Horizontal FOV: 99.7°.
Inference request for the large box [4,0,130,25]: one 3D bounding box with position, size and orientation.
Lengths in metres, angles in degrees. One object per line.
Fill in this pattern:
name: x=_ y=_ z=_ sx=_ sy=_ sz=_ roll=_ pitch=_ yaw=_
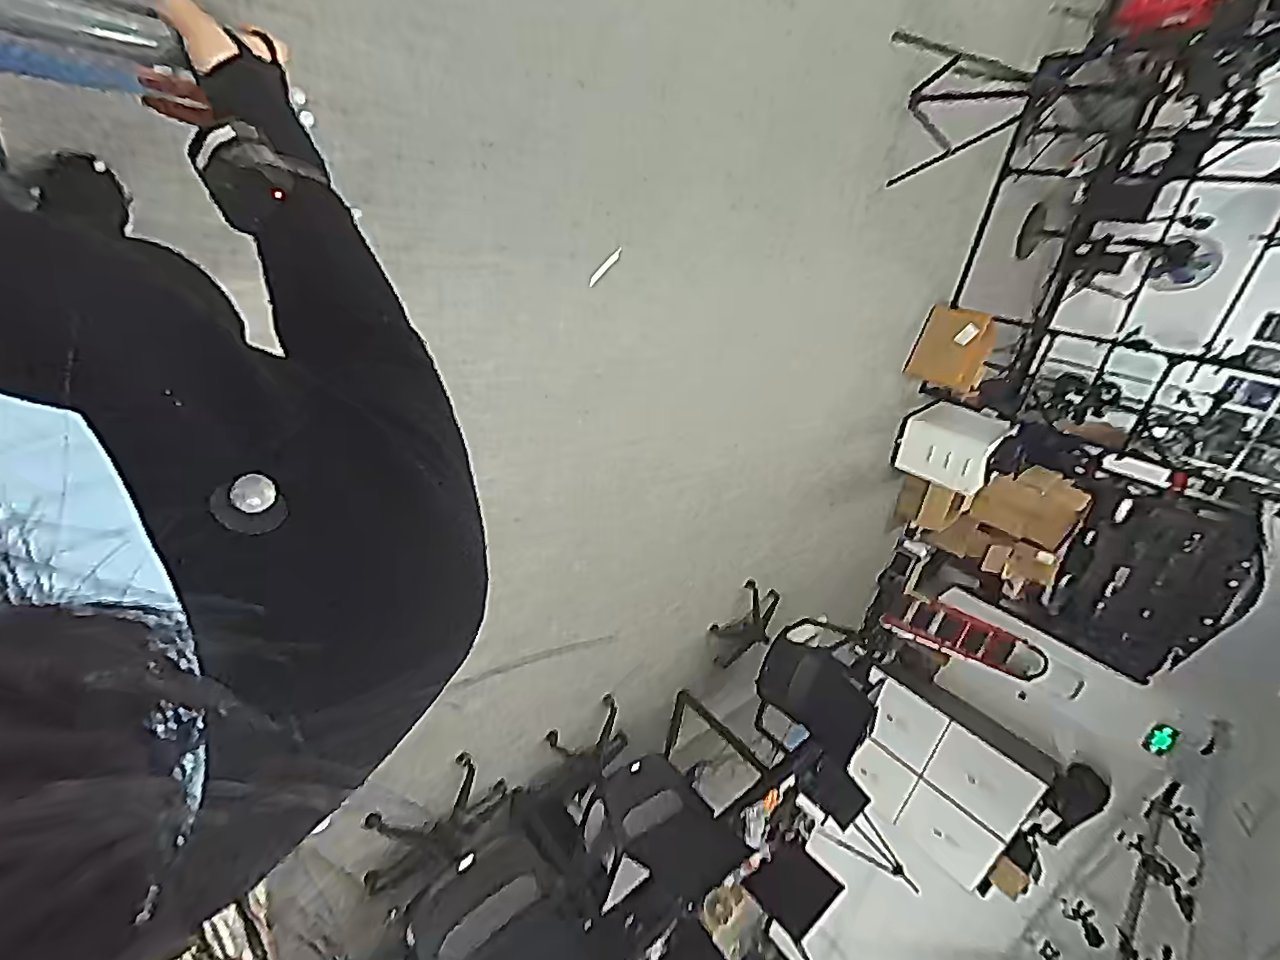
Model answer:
large box: x=-0.821 y=-0.723 z=0.538 sx=0.408 sy=0.320 sz=0.320 roll=-16 pitch=126 yaw=-40
